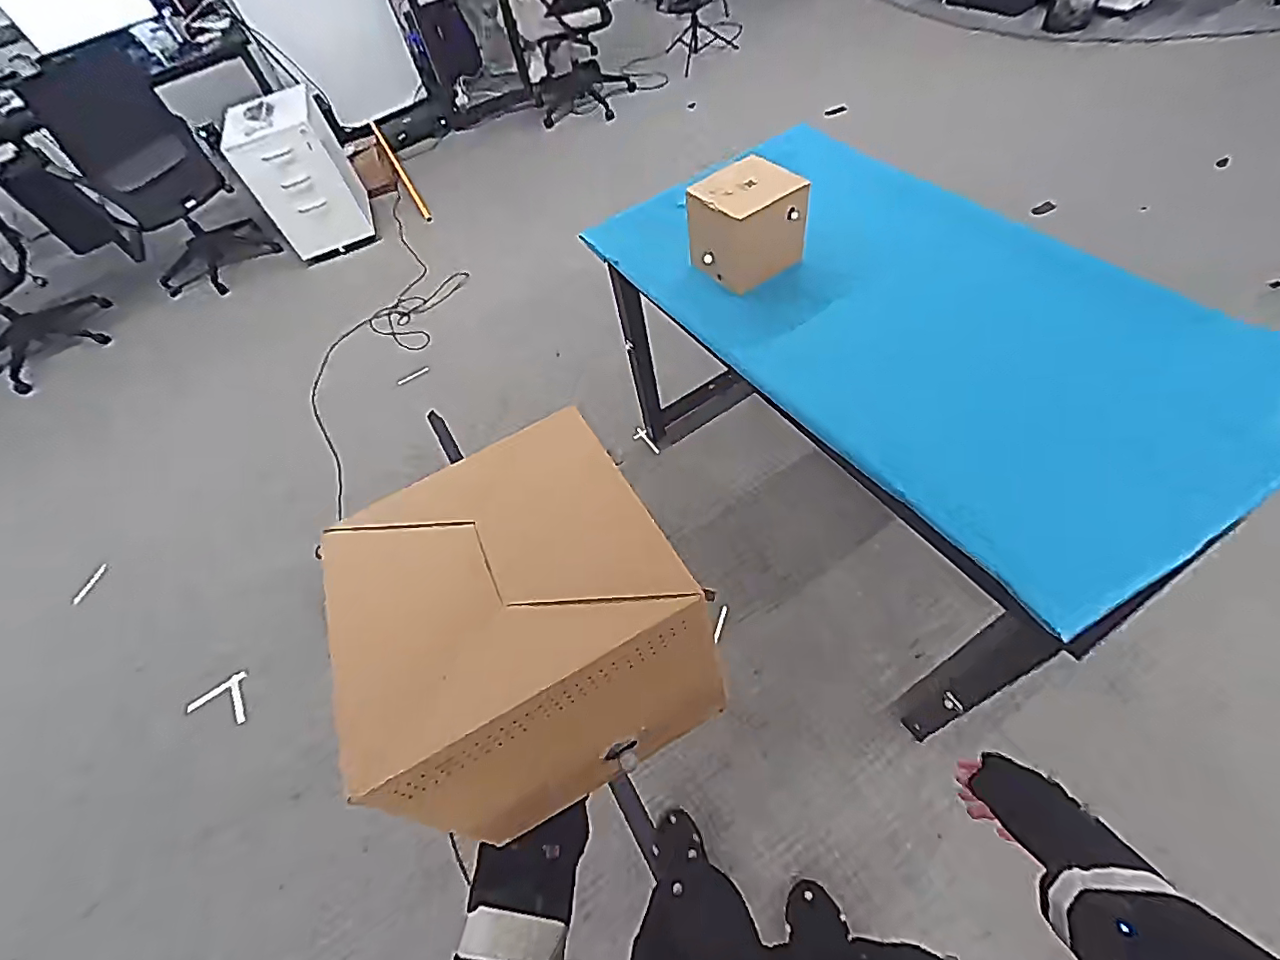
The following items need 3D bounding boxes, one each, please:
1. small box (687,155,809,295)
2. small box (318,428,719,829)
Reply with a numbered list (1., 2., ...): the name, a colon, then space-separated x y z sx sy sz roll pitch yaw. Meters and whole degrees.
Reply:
1. small box: 0.217 -0.513 1.096 0.179 0.176 0.168 -31 55 -8
2. small box: -0.070 0.091 0.355 0.179 0.176 0.168 -28 49 -8
